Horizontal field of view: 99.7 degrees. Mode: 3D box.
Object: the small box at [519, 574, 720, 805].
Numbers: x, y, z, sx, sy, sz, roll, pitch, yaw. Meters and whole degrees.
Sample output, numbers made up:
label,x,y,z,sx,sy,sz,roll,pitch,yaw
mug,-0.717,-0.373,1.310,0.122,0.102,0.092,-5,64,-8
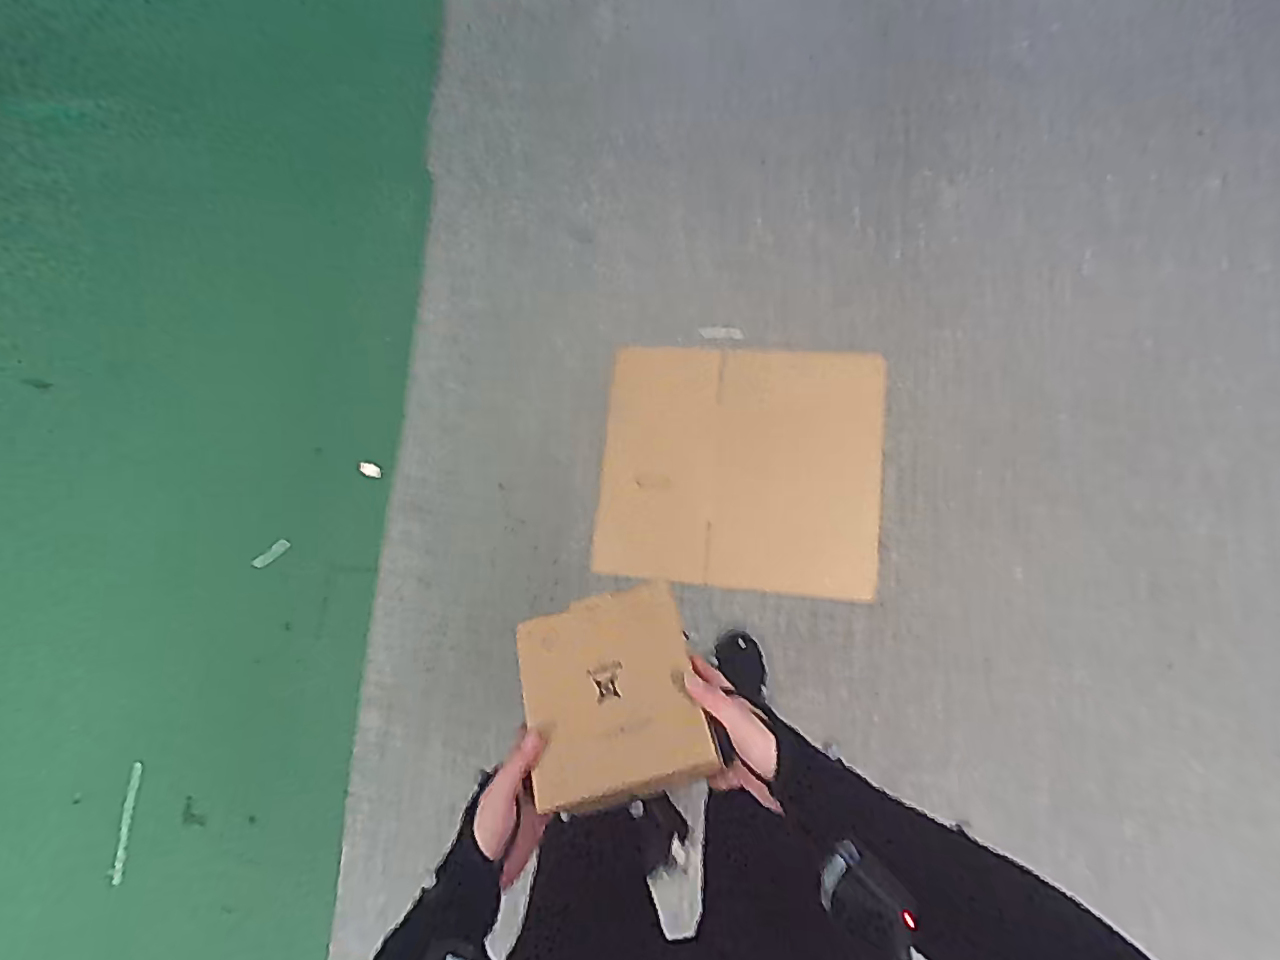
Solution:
label,x,y,z,sx,sy,sz,roll,pitch,yaw
small box,-0.018,0.230,0.581,0.168,0.176,0.179,-16,55,2
